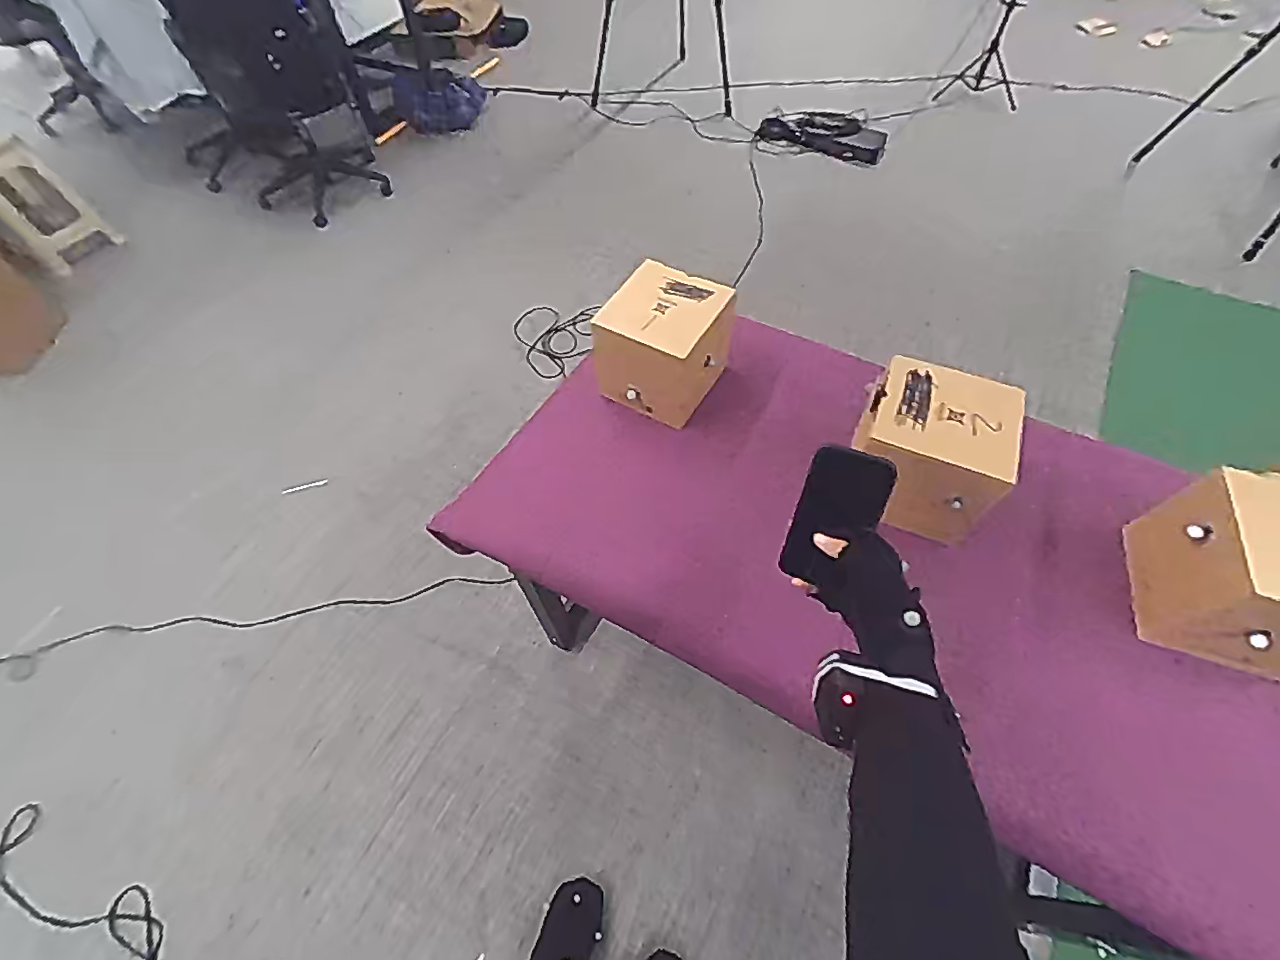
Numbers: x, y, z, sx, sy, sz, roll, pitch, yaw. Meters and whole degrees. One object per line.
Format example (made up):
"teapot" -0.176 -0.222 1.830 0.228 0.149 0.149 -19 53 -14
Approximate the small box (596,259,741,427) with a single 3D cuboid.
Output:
"small box" 0.045 -0.223 0.892 0.168 0.176 0.179 27 63 18

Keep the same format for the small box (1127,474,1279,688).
"small box" 0.739 0.127 0.649 0.168 0.176 0.179 16 58 13
